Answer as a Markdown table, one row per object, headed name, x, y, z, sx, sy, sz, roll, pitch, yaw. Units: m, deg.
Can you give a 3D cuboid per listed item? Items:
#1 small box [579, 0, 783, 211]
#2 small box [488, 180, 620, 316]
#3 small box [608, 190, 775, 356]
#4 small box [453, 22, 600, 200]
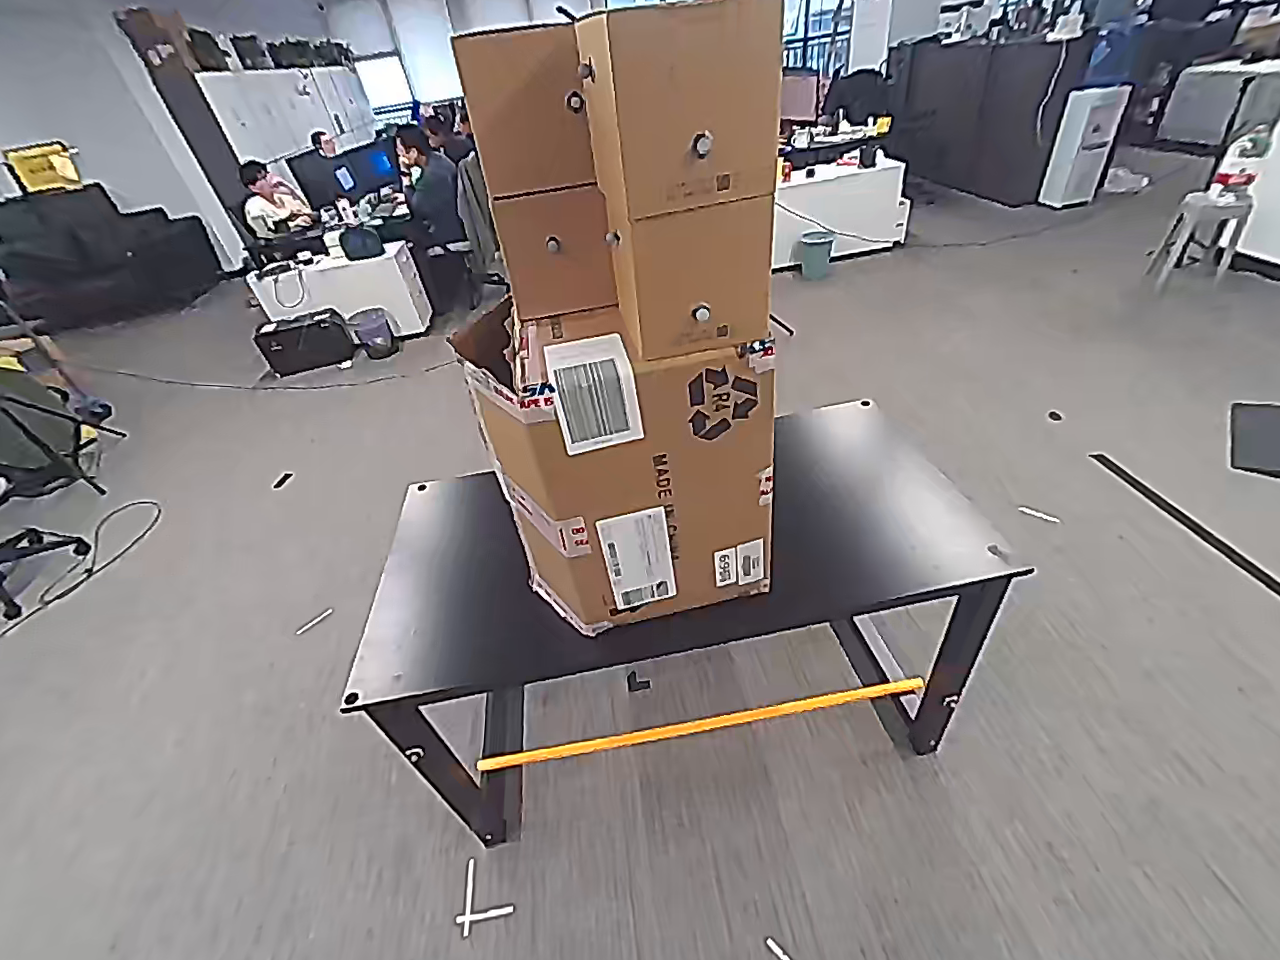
| name | x | y | z | sx | sy | sz | roll | pitch | yaw |
| --- | --- | --- | --- | --- | --- | --- | --- | --- | --- |
| small box | 0.038 | -0.404 | 0.583 | 0.168 | 0.176 | 0.179 | -14 | 40 | -7 |
| small box | -0.120 | -0.364 | 0.828 | 0.179 | 0.176 | 0.168 | -12 | 37 | -5 |
| small box | 0.058 | -0.278 | 0.689 | 0.168 | 0.176 | 0.179 | -12 | 40 | -5 |
| small box | -0.136 | -0.492 | 0.728 | 0.179 | 0.176 | 0.168 | -14 | 36 | -7 |
